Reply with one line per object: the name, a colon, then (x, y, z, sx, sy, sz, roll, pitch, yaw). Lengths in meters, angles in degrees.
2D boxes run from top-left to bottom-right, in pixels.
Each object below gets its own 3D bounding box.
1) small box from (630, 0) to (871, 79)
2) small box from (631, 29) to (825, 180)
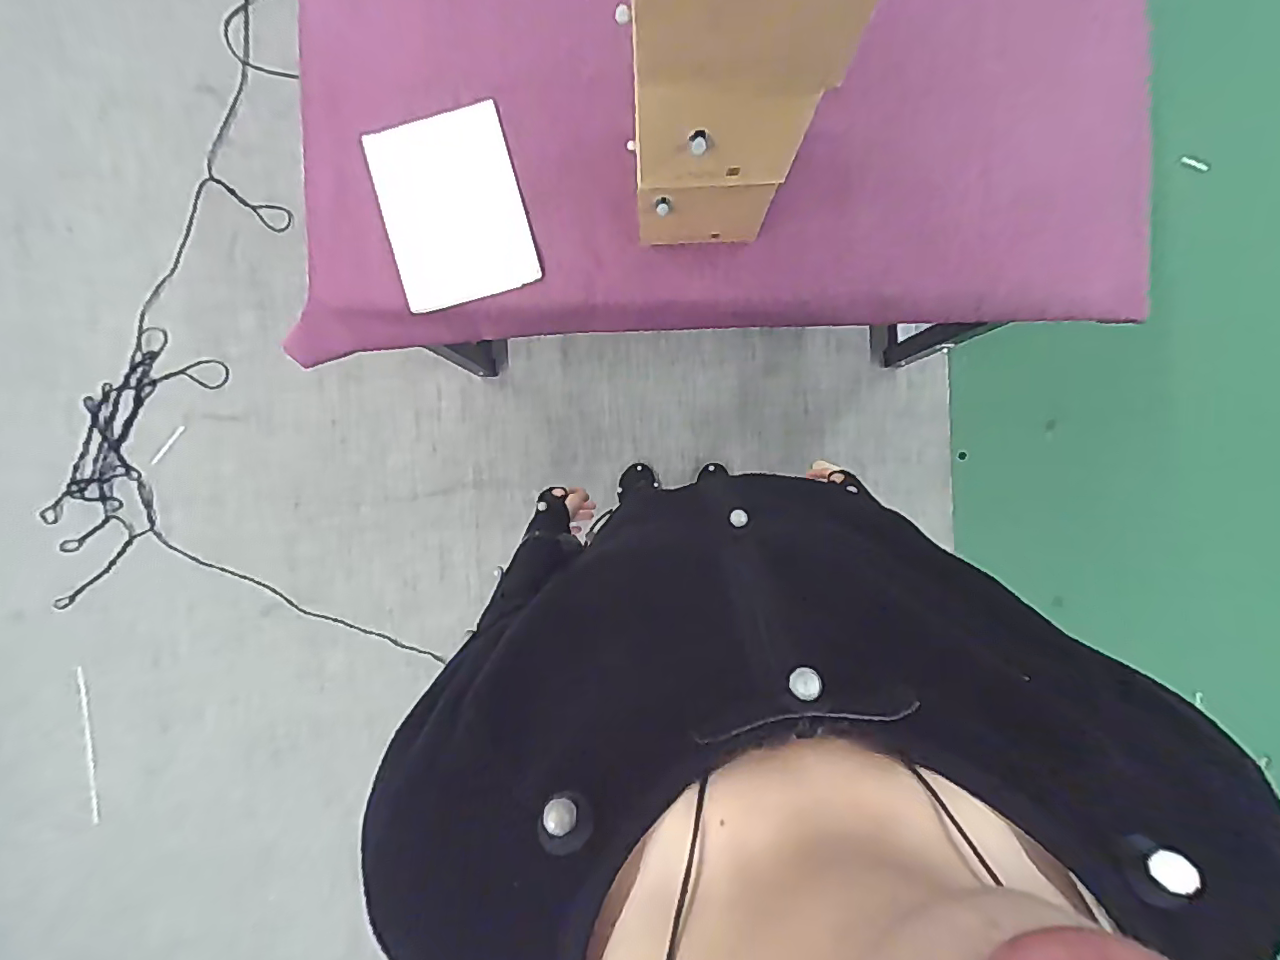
small box: (0.082, -0.415, 0.371, 0.179, 0.176, 0.168, 1, 89, 2)
small box: (0.077, -0.422, 0.536, 0.168, 0.176, 0.179, -1, 90, 1)
